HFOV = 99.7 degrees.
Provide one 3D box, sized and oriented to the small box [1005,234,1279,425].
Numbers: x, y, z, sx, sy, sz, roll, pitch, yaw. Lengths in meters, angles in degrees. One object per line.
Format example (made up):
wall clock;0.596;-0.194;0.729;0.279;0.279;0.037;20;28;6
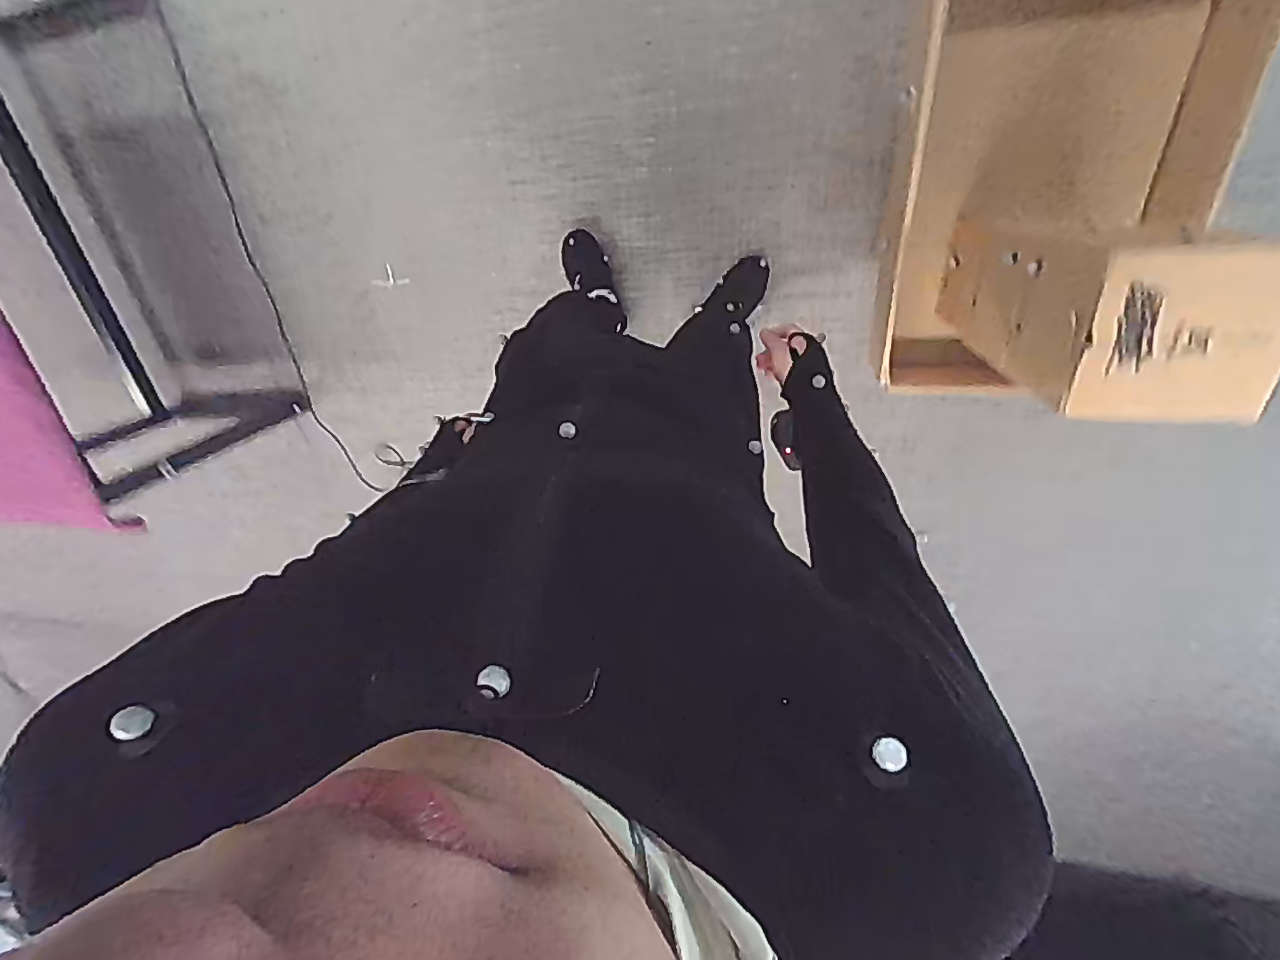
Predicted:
small box;0.536;-0.169;0.587;0.179;0.176;0.168;3;119;11

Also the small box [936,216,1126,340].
small box;0.605;-0.327;0.868;0.179;0.176;0.168;5;120;12
